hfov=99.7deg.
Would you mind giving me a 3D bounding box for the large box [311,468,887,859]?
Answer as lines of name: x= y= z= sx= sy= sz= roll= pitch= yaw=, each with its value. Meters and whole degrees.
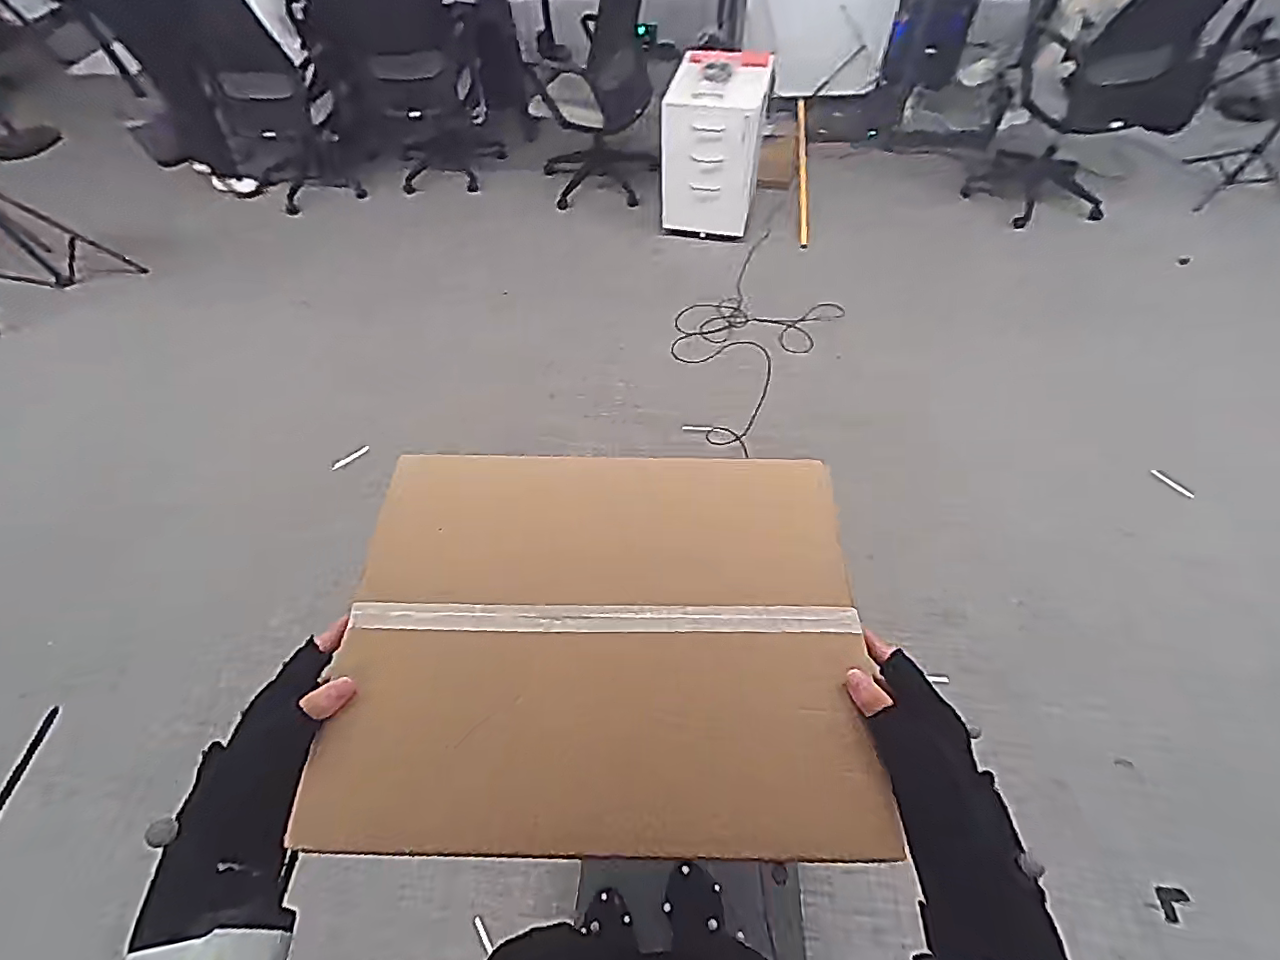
large box: x=-0.025 y=0.197 z=0.571 sx=0.408 sy=0.320 sz=0.320 roll=1 pitch=57 yaw=1
